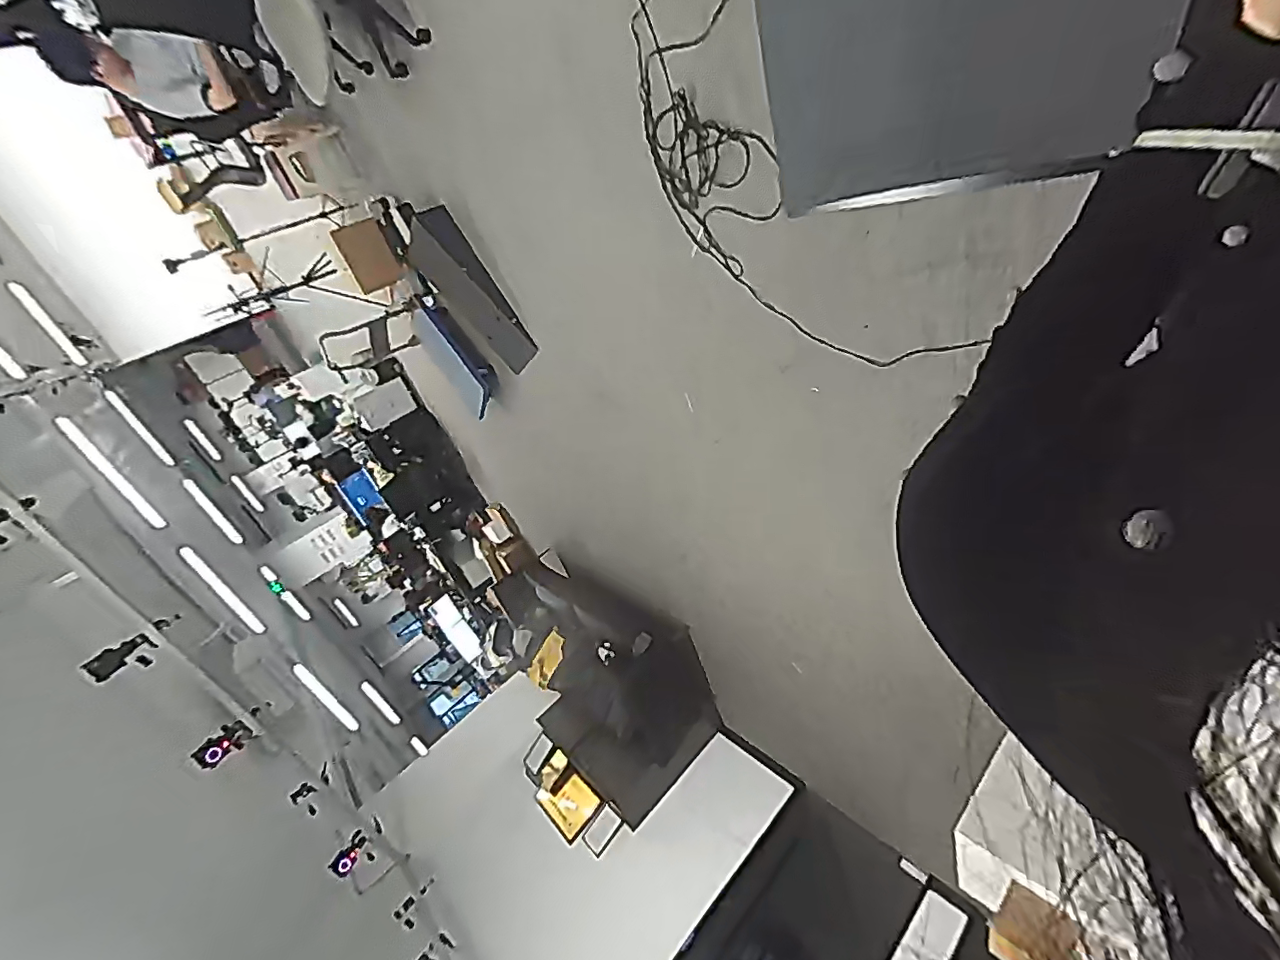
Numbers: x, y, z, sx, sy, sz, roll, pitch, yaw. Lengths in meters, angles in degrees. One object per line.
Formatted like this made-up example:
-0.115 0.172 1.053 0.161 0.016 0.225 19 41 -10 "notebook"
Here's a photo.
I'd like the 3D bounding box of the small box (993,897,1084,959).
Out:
1.123 1.343 1.526 0.168 0.176 0.179 18 137 48 "small box"
